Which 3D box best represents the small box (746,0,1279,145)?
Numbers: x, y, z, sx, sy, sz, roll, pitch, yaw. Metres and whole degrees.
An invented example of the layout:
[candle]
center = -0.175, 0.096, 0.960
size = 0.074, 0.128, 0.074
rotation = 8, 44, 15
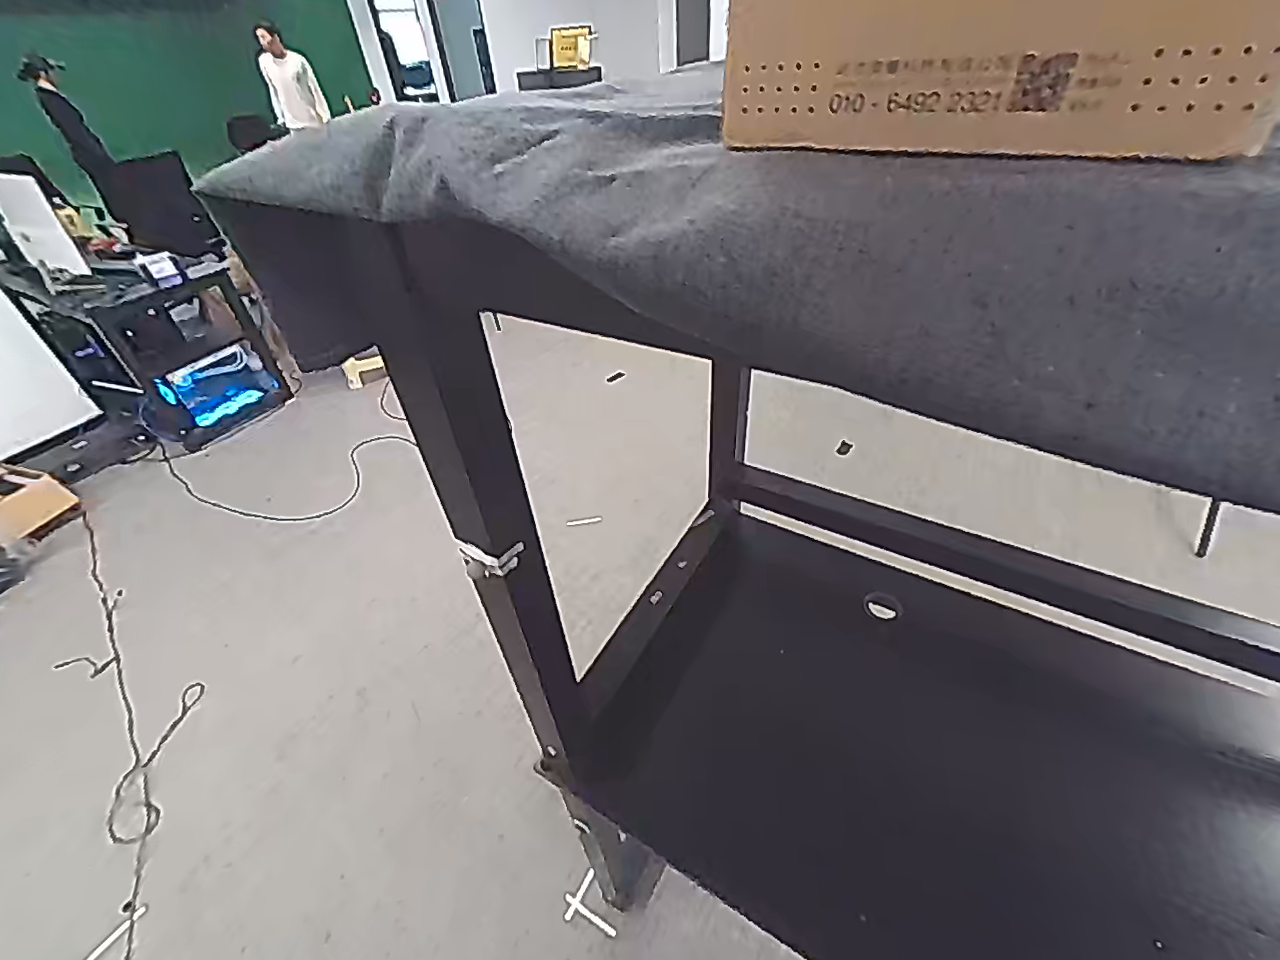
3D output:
[small box]
center = 0.142, -0.228, 0.189
size = 0.168, 0.176, 0.179
rotation = 17, 44, 22
